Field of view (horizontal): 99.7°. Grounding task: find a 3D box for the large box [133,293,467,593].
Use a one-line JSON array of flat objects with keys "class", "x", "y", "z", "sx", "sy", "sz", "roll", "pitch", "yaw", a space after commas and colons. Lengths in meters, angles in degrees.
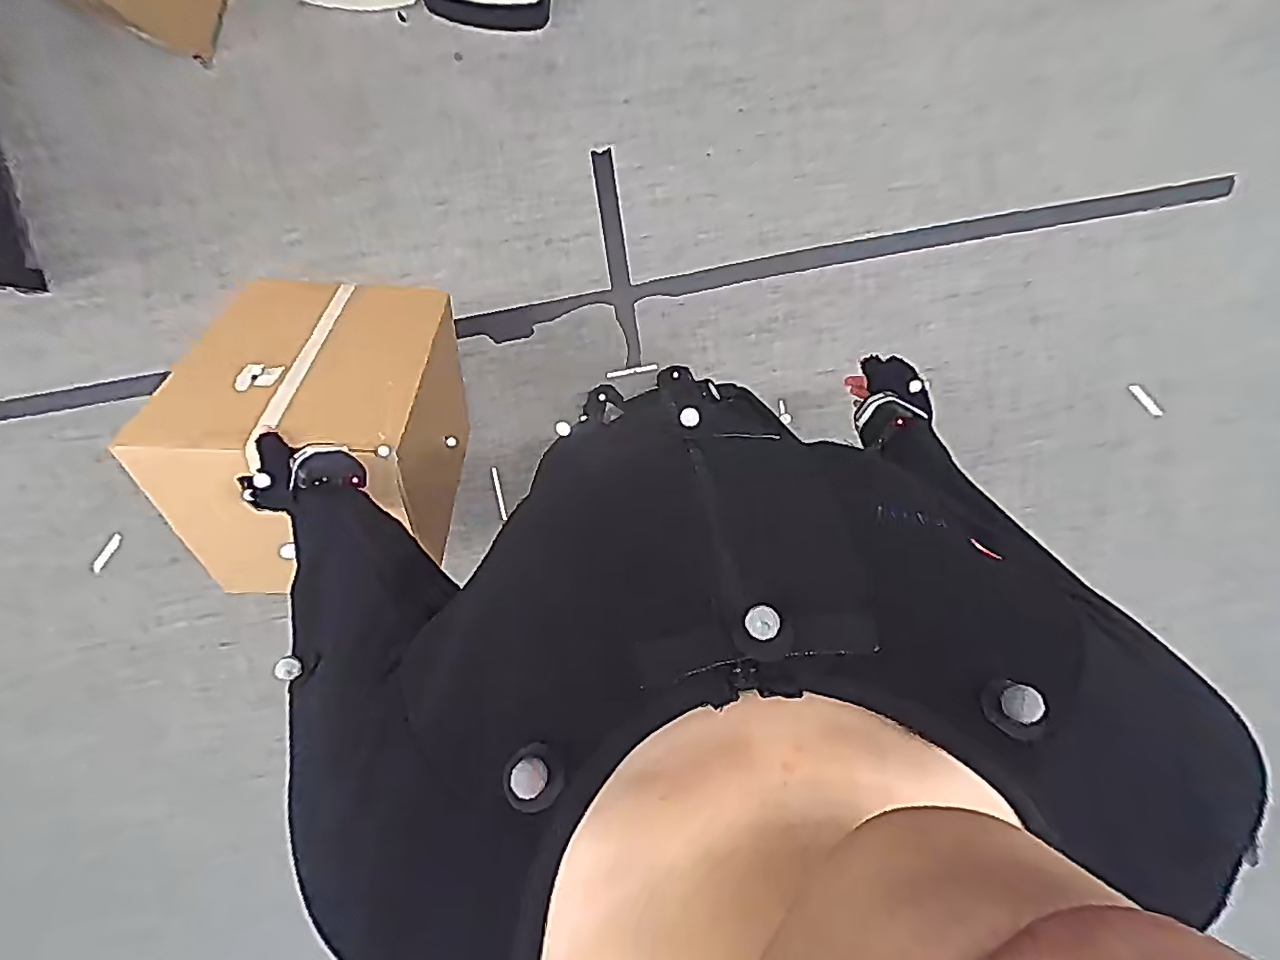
[{"class": "large box", "x": -0.484, "y": -0.064, "z": 0.899, "sx": 0.320, "sy": 0.408, "sz": 0.320, "roll": 1, "pitch": 136, "yaw": -6}]
